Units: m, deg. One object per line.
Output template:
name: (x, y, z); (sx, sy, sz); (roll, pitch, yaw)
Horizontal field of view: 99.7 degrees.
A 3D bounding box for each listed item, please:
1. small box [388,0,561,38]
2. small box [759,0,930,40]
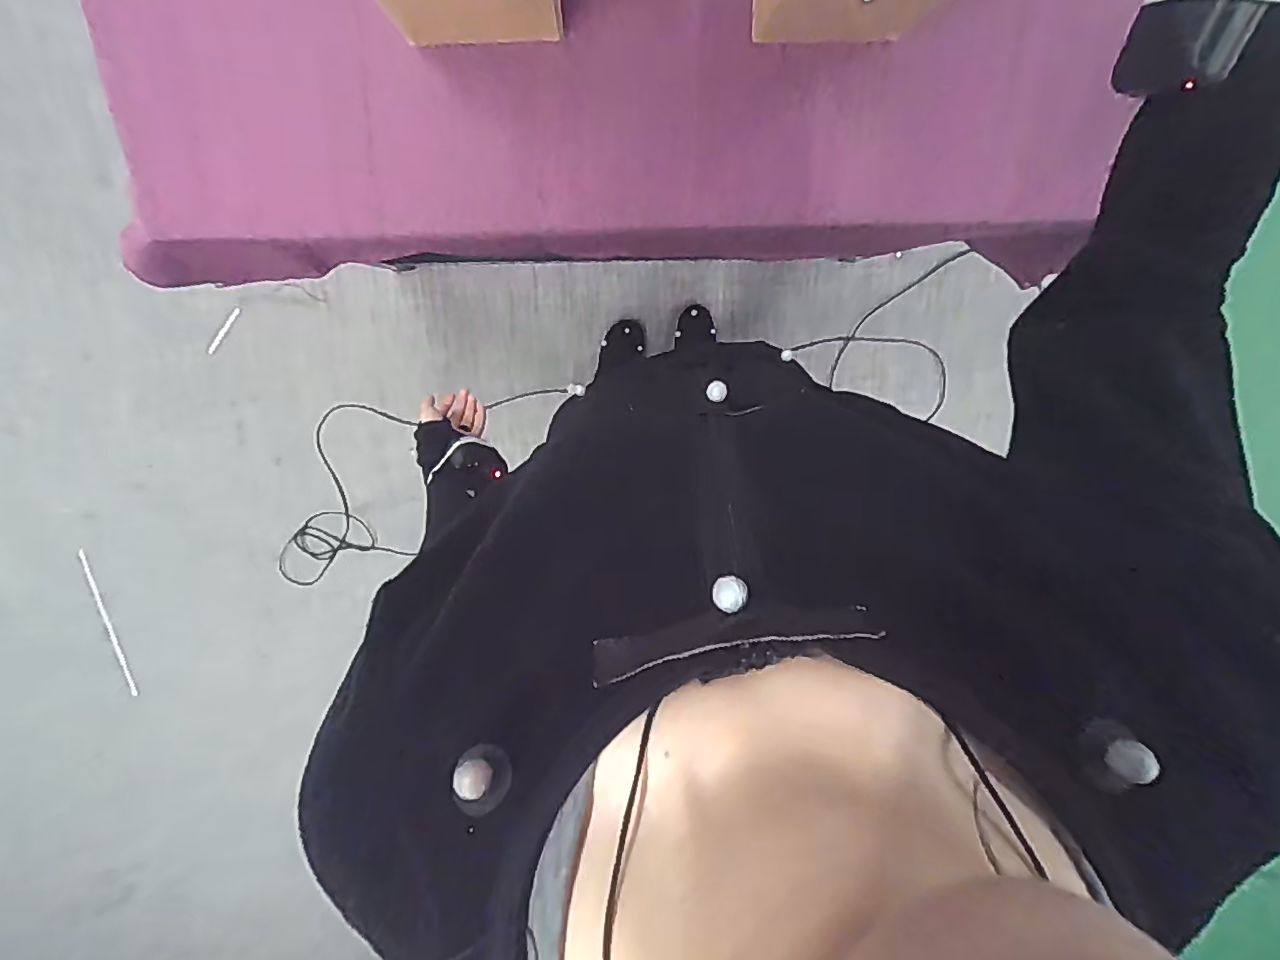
small box: (-0.175, -0.554, 0.510); (0.179, 0.176, 0.168); (-4, 107, -2)
small box: (0.219, -0.563, 0.525); (0.179, 0.176, 0.168); (-3, 109, -1)
